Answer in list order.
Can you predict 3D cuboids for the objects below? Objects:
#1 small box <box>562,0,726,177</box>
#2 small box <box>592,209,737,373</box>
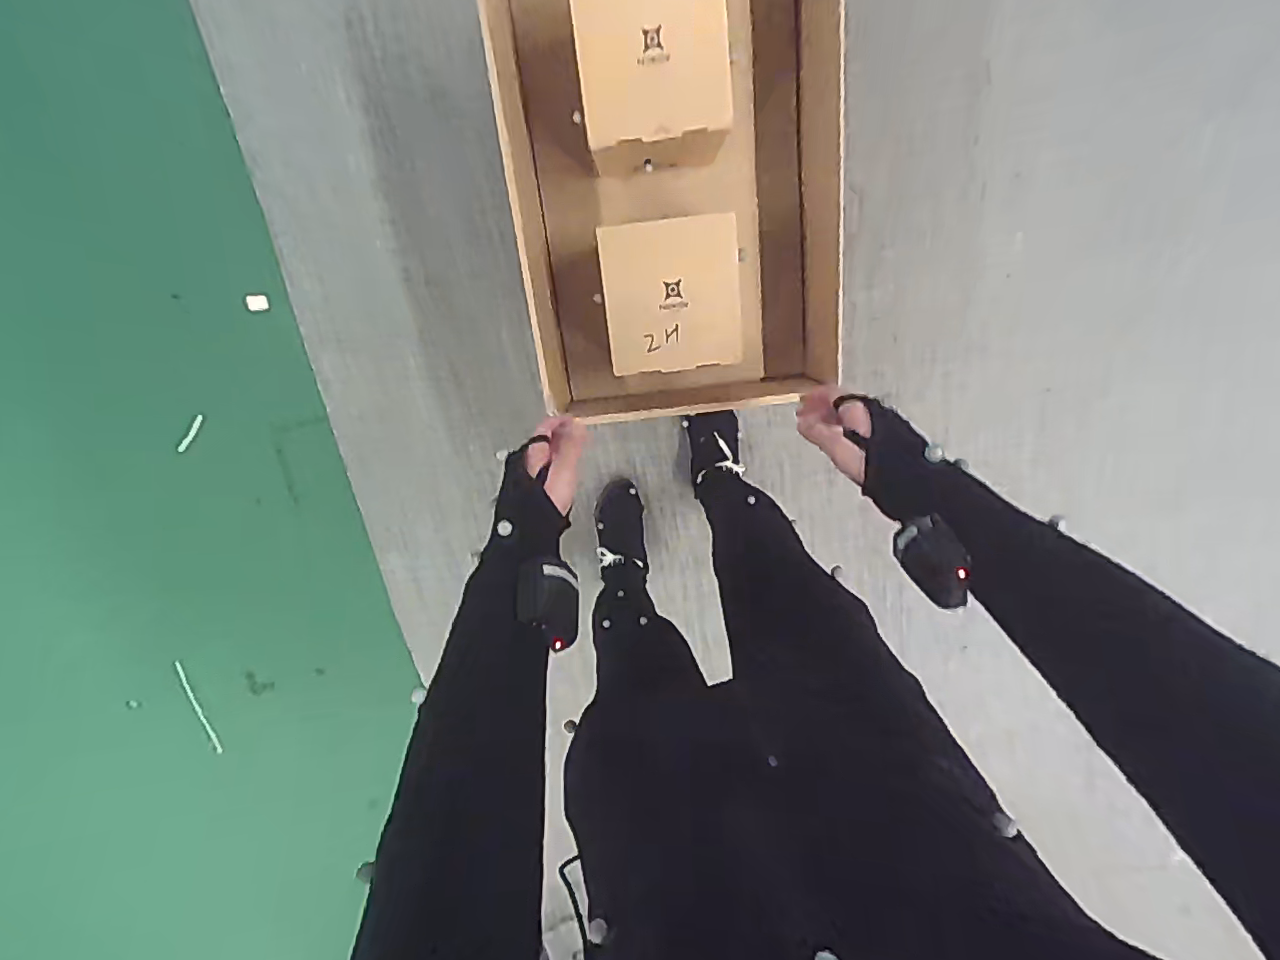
[{"bbox_3d":[0.003,-0.489,0.652,0.168,0.176,0.179,-8,109,2],"label":"small box"},{"bbox_3d":[0.032,-0.246,0.726,0.168,0.176,0.179,-6,108,3],"label":"small box"}]
